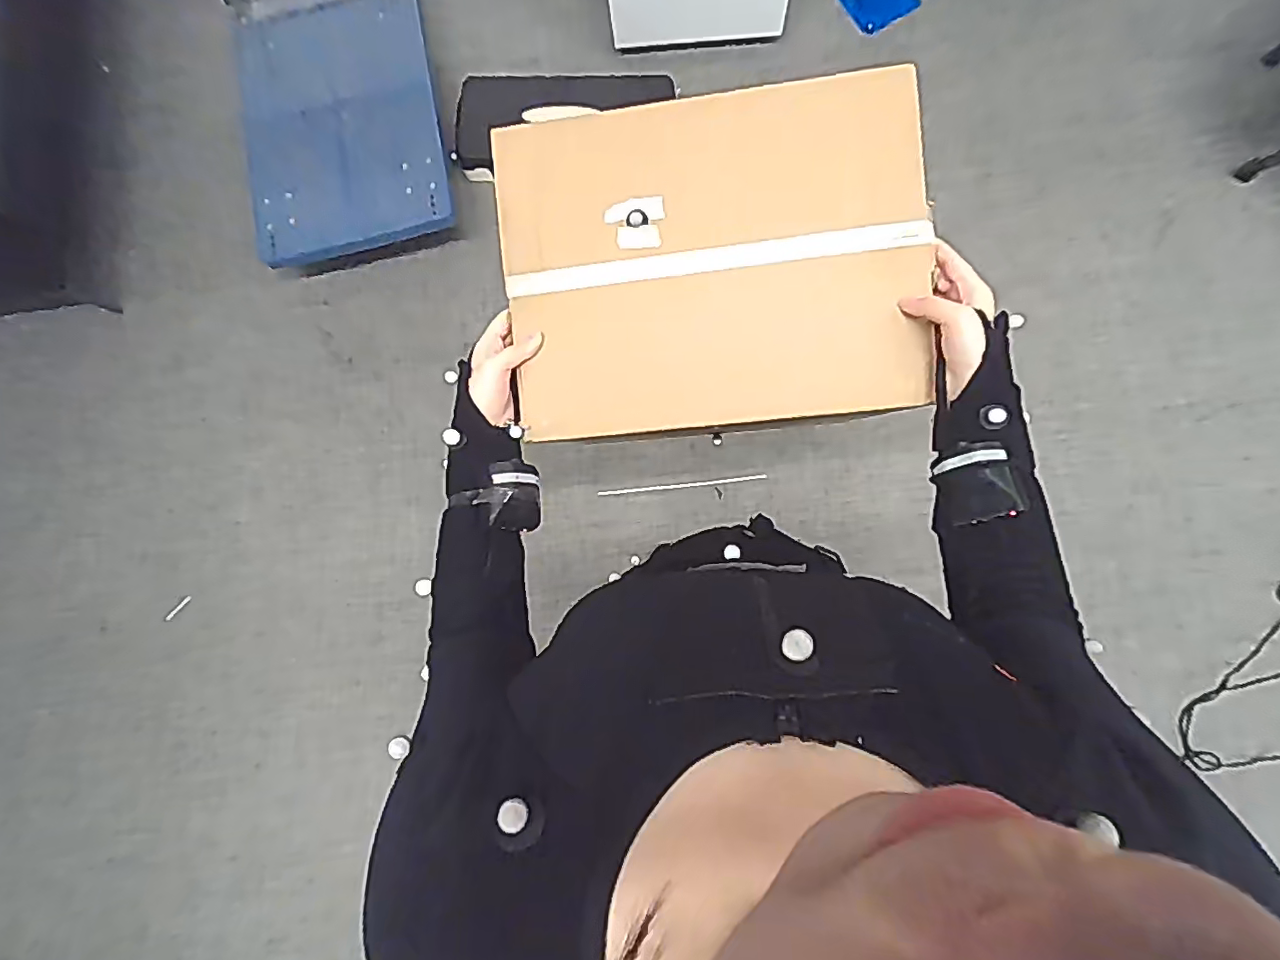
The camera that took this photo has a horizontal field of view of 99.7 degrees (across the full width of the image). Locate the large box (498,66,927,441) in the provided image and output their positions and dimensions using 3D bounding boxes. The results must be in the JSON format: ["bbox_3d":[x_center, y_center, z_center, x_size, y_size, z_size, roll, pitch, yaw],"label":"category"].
[{"bbox_3d":[0.085,-0.225,0.683,0.408,0.320,0.320,-5,93,8],"label":"large box"}]
